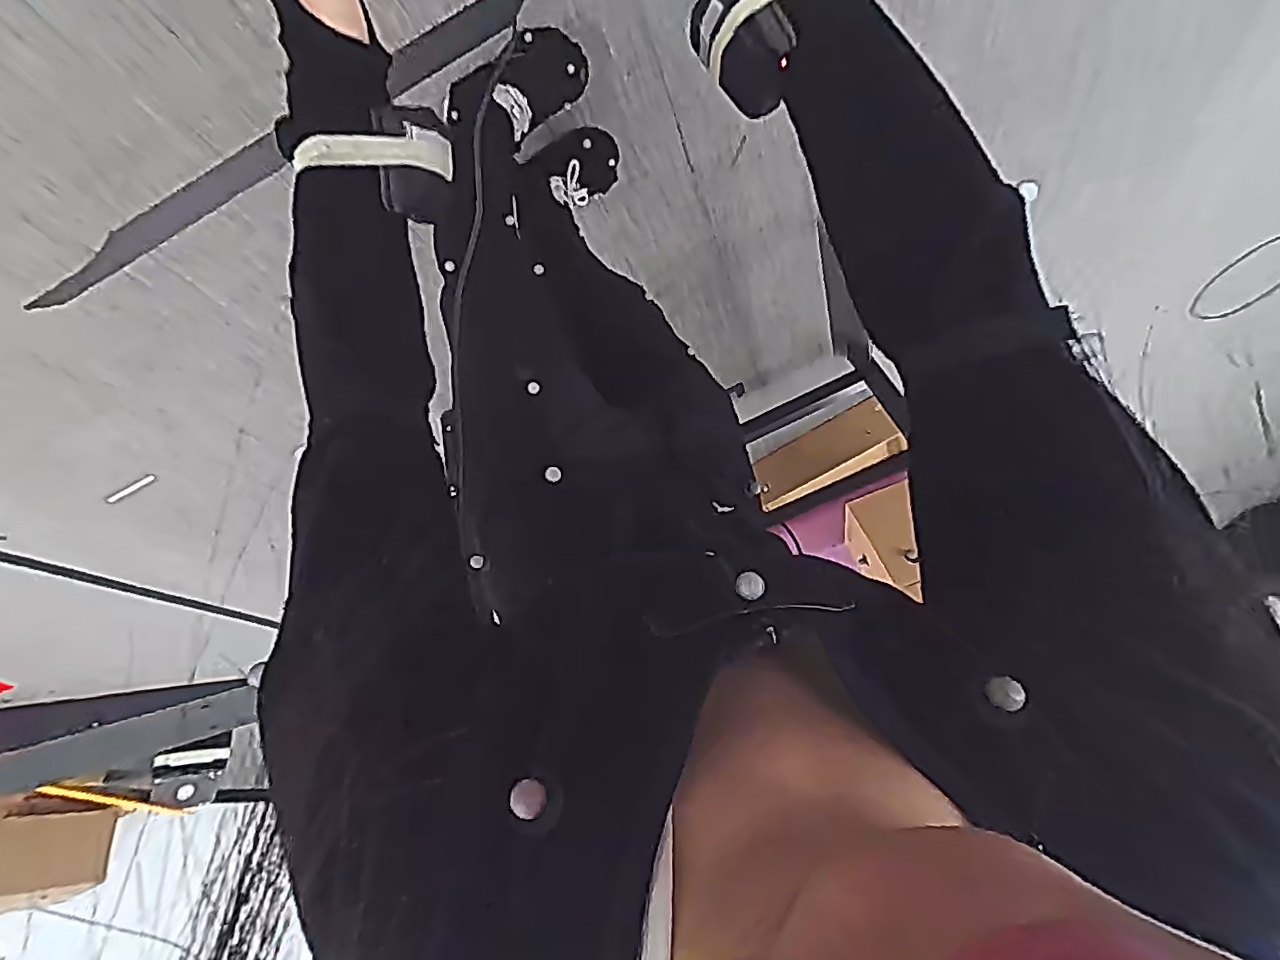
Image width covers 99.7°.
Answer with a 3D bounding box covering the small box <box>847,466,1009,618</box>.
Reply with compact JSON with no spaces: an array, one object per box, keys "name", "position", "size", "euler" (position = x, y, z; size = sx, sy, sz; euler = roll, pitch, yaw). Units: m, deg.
[{"name":"small box","position":[0.471,0.107,0.919],"size":[0.179,0.176,0.168],"euler":[-23,146,6]}]
